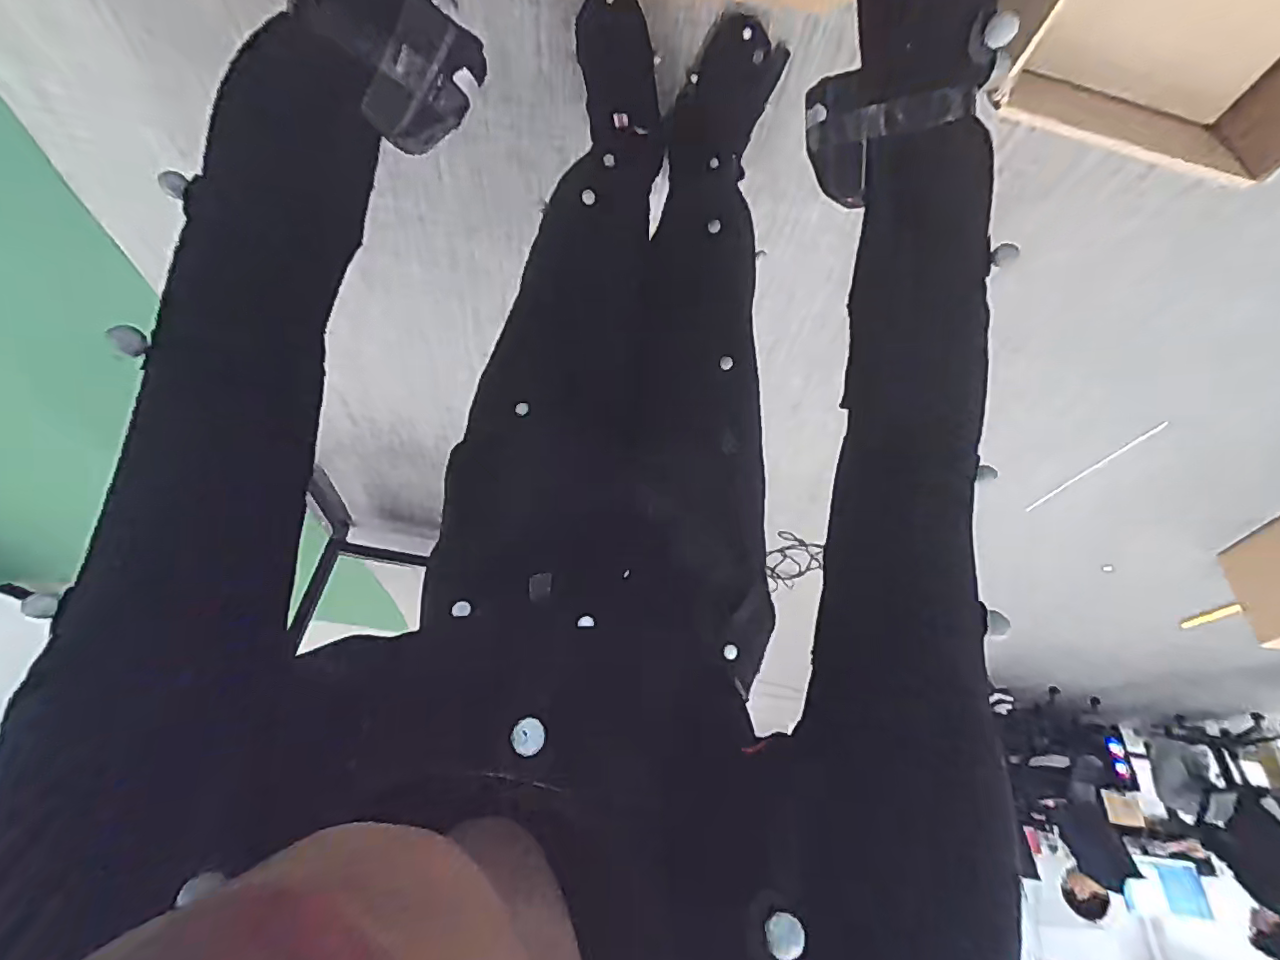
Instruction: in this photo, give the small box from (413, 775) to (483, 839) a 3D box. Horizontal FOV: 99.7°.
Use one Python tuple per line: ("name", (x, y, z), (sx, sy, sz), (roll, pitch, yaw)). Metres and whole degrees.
("small box", (-0.633, 1.083, 1.798), (0.179, 0.176, 0.168), (12, 148, -8))
